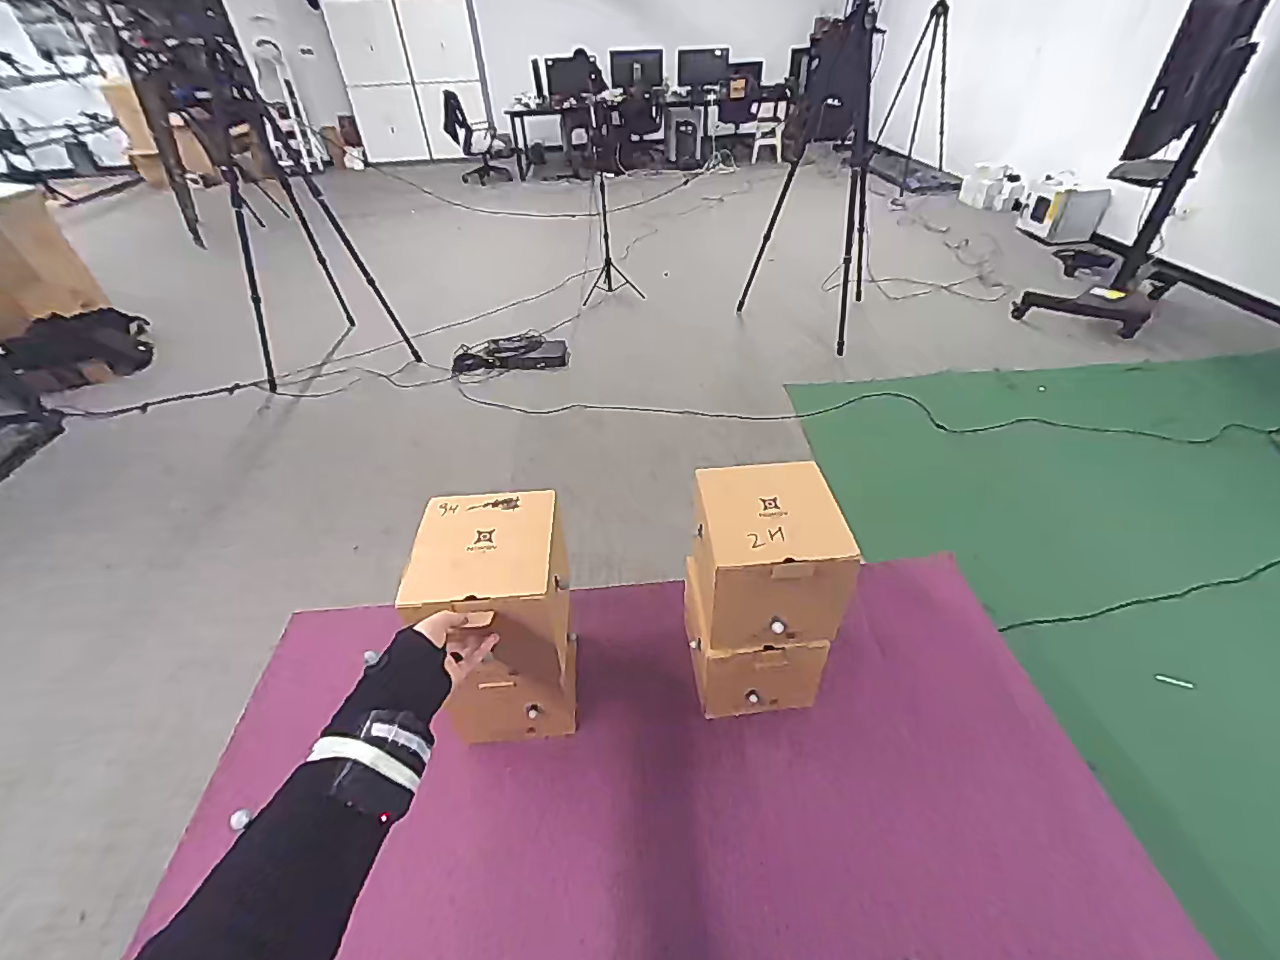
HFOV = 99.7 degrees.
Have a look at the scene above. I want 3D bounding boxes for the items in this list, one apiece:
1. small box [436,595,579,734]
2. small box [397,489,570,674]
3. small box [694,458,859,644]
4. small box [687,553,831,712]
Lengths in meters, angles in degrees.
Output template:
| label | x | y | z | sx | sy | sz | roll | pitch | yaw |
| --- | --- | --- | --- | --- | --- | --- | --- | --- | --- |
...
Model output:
| label | x | y | z | sx | sy | sz | roll | pitch | yaw |
| --- | --- | --- | --- | --- | --- | --- | --- | --- | --- |
| small box | -0.182 | 0.259 | 0.804 | 0.168 | 0.176 | 0.179 | -4 | 40 | -2 |
| small box | -0.182 | 0.135 | 0.696 | 0.168 | 0.176 | 0.179 | -3 | 41 | -2 |
| small box | 0.164 | 0.092 | 0.718 | 0.168 | 0.176 | 0.179 | -5 | 41 | -1 |
| small box | 0.166 | 0.222 | 0.820 | 0.168 | 0.176 | 0.179 | -6 | 41 | -3 |
